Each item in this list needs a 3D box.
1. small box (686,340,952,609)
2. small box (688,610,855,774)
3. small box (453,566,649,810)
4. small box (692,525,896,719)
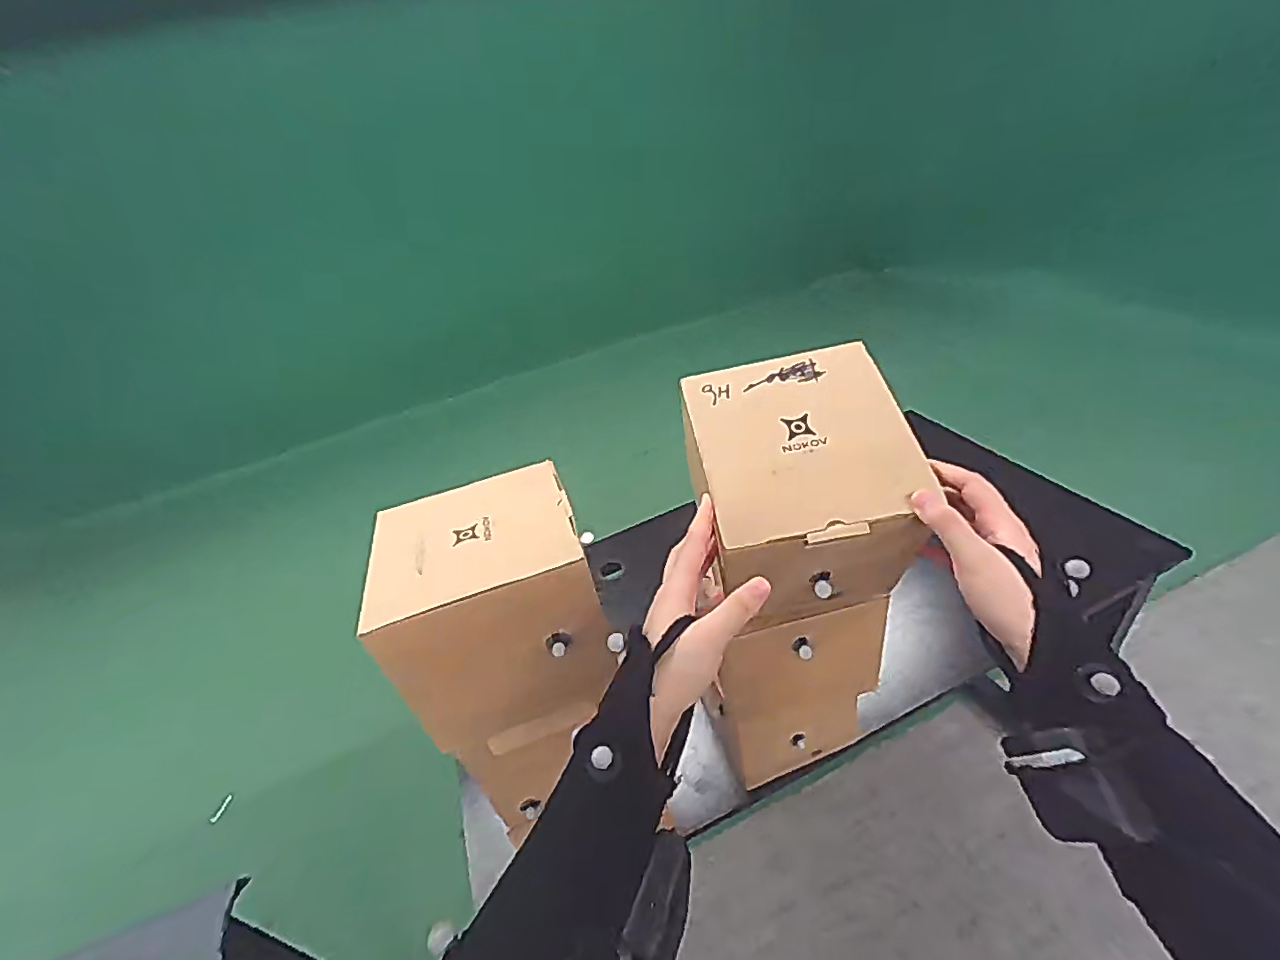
[{"bbox_3d":[0.145,0.007,0.499,0.168,0.176,0.179,-12,57,2],"label":"small box"},{"bbox_3d":[0.182,0.274,0.750,0.168,0.176,0.179,-19,36,-9],"label":"small box"},{"bbox_3d":[-0.099,0.235,0.610,0.168,0.176,0.179,-18,35,-9],"label":"small box"},{"bbox_3d":[0.171,0.151,0.643,0.179,0.176,0.168,-14,36,-2],"label":"small box"}]
